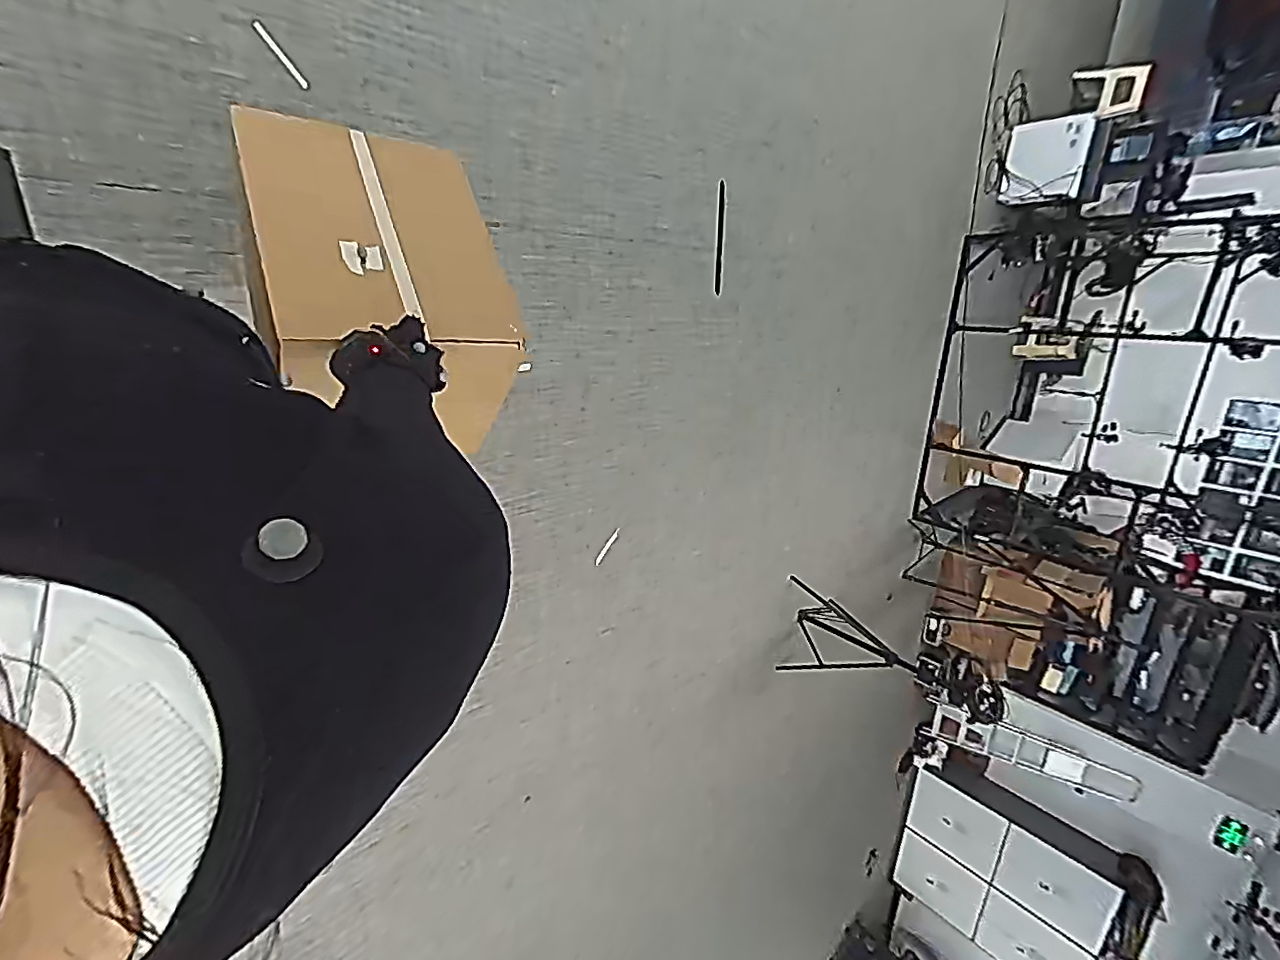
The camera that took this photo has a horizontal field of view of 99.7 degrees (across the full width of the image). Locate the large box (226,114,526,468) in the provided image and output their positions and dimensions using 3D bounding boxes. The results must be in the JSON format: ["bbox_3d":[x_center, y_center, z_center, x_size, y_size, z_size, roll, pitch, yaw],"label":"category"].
[{"bbox_3d":[-0.435,-0.278,0.877,0.320,0.320,0.408,-11,70,-36],"label":"large box"}]
